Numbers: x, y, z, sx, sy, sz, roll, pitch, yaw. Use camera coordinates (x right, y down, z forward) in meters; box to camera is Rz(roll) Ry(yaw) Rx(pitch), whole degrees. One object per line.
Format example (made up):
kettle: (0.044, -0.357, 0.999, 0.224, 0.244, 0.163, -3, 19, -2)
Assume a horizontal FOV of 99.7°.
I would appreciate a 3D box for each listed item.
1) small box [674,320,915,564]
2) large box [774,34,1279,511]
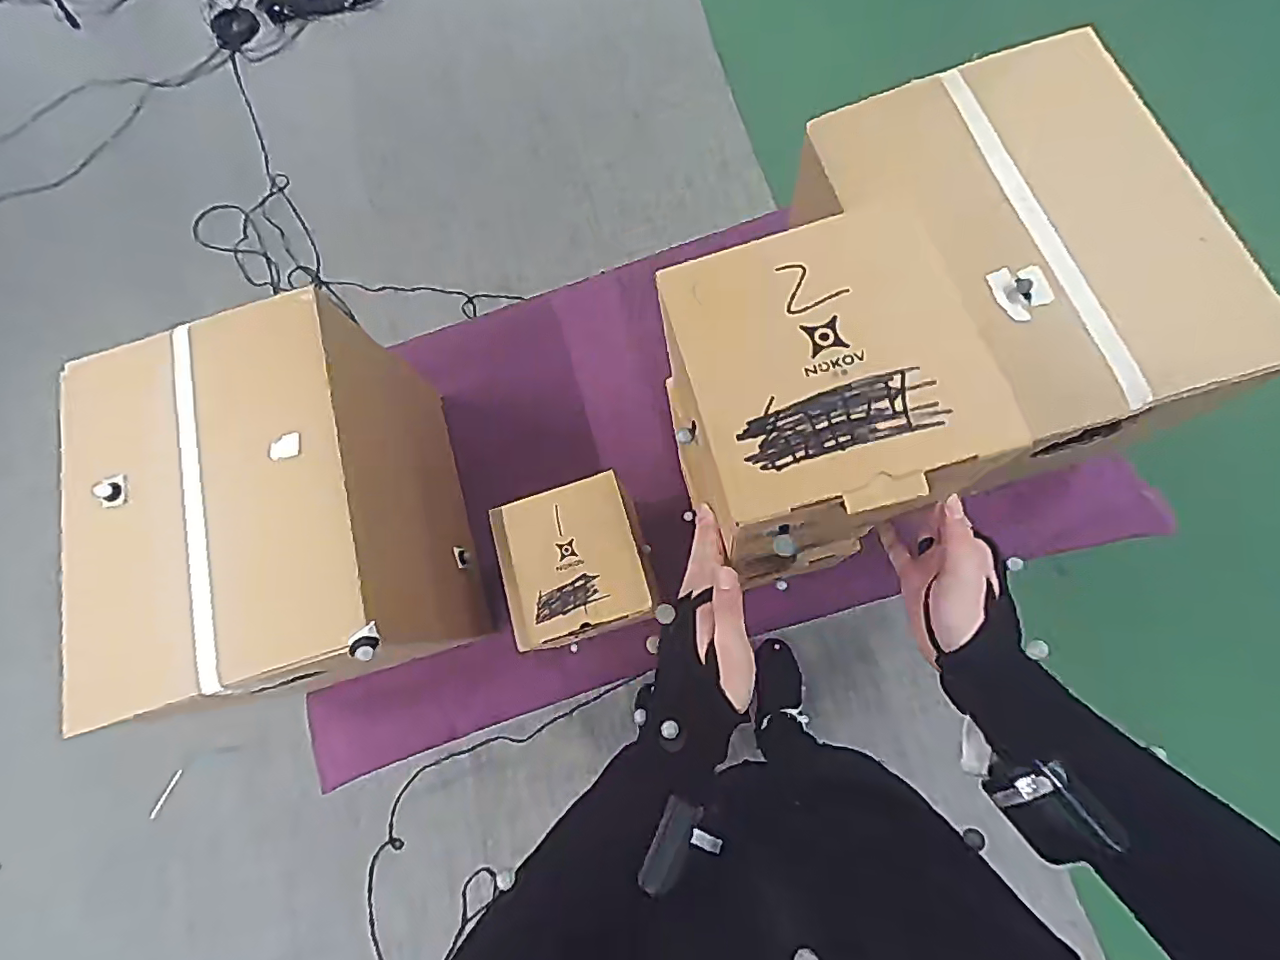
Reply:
small box: (0.137, -0.026, 0.551, 0.168, 0.176, 0.179, -18, 75, 2)
large box: (0.394, -0.211, 0.667, 0.320, 0.320, 0.408, -17, 75, 3)
